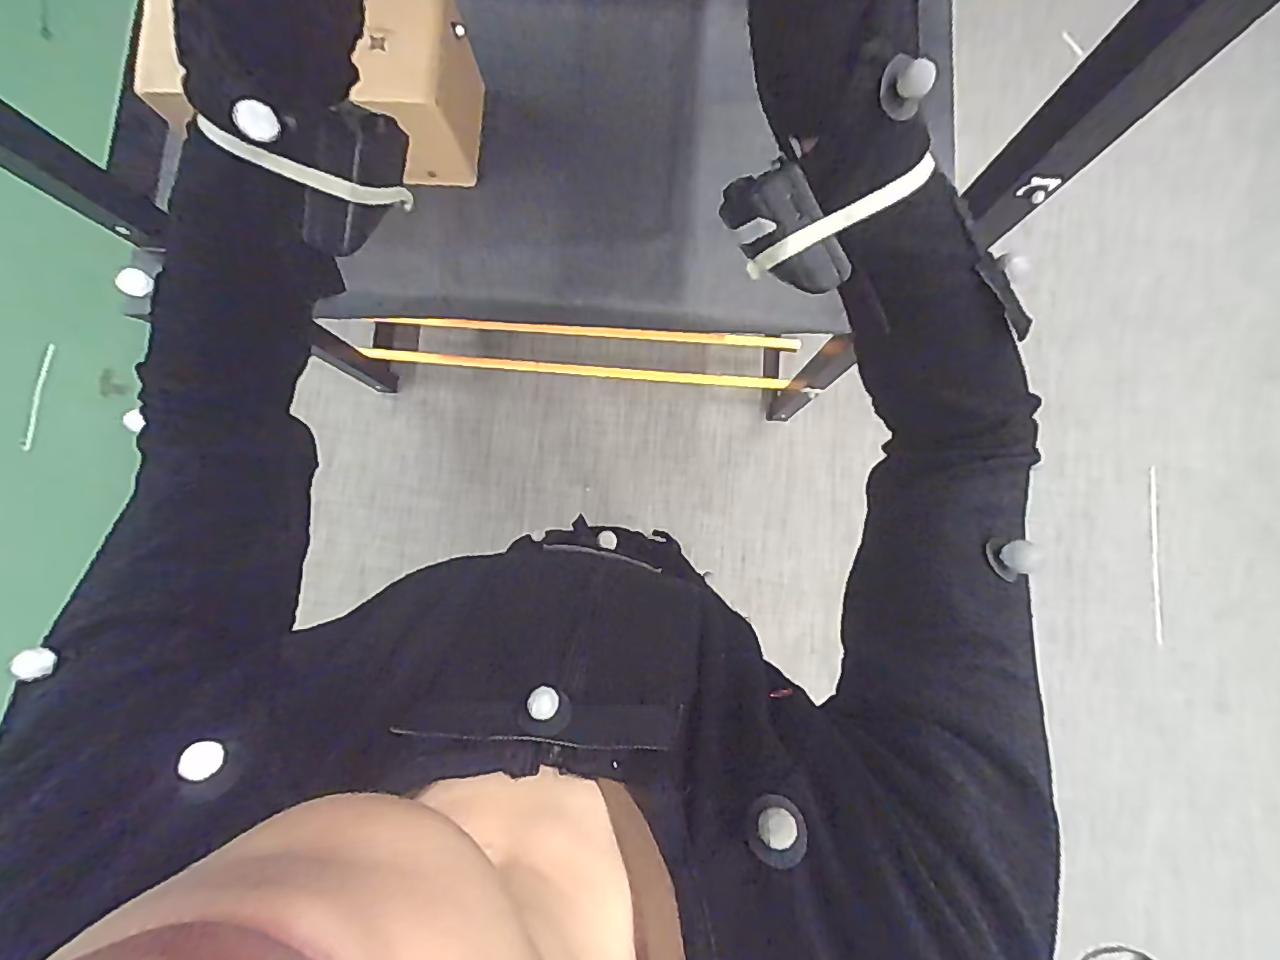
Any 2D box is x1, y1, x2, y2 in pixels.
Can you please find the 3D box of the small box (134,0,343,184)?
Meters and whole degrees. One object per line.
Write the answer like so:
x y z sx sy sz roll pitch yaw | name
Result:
-0.551 -0.559 0.768 0.168 0.176 0.179 2 84 1 | small box
